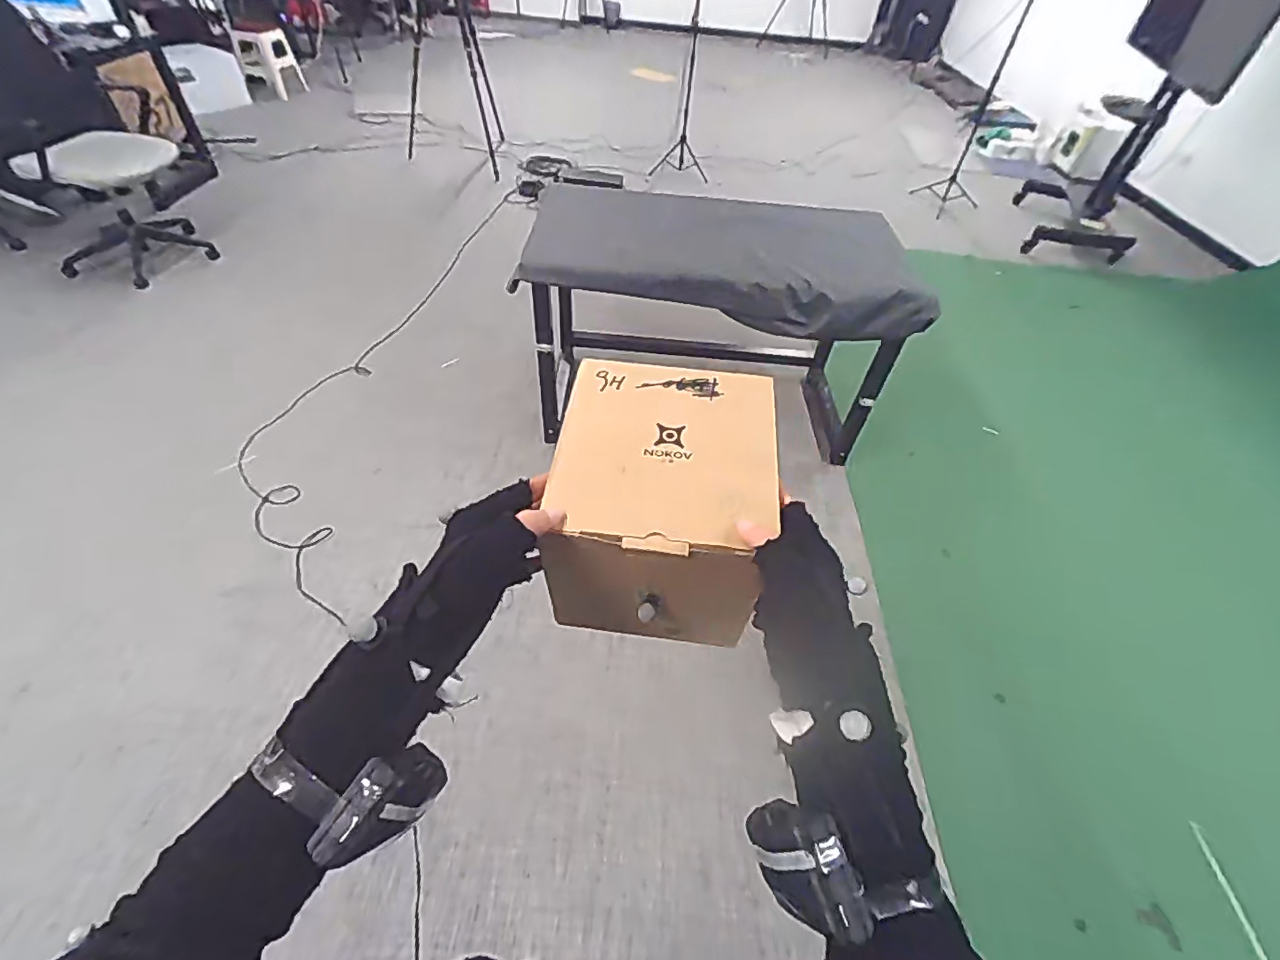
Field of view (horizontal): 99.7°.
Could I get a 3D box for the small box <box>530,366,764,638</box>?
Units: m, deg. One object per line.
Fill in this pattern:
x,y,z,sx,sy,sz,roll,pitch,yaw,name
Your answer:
0.014,0.025,0.479,0.168,0.176,0.179,6,54,4,small box
